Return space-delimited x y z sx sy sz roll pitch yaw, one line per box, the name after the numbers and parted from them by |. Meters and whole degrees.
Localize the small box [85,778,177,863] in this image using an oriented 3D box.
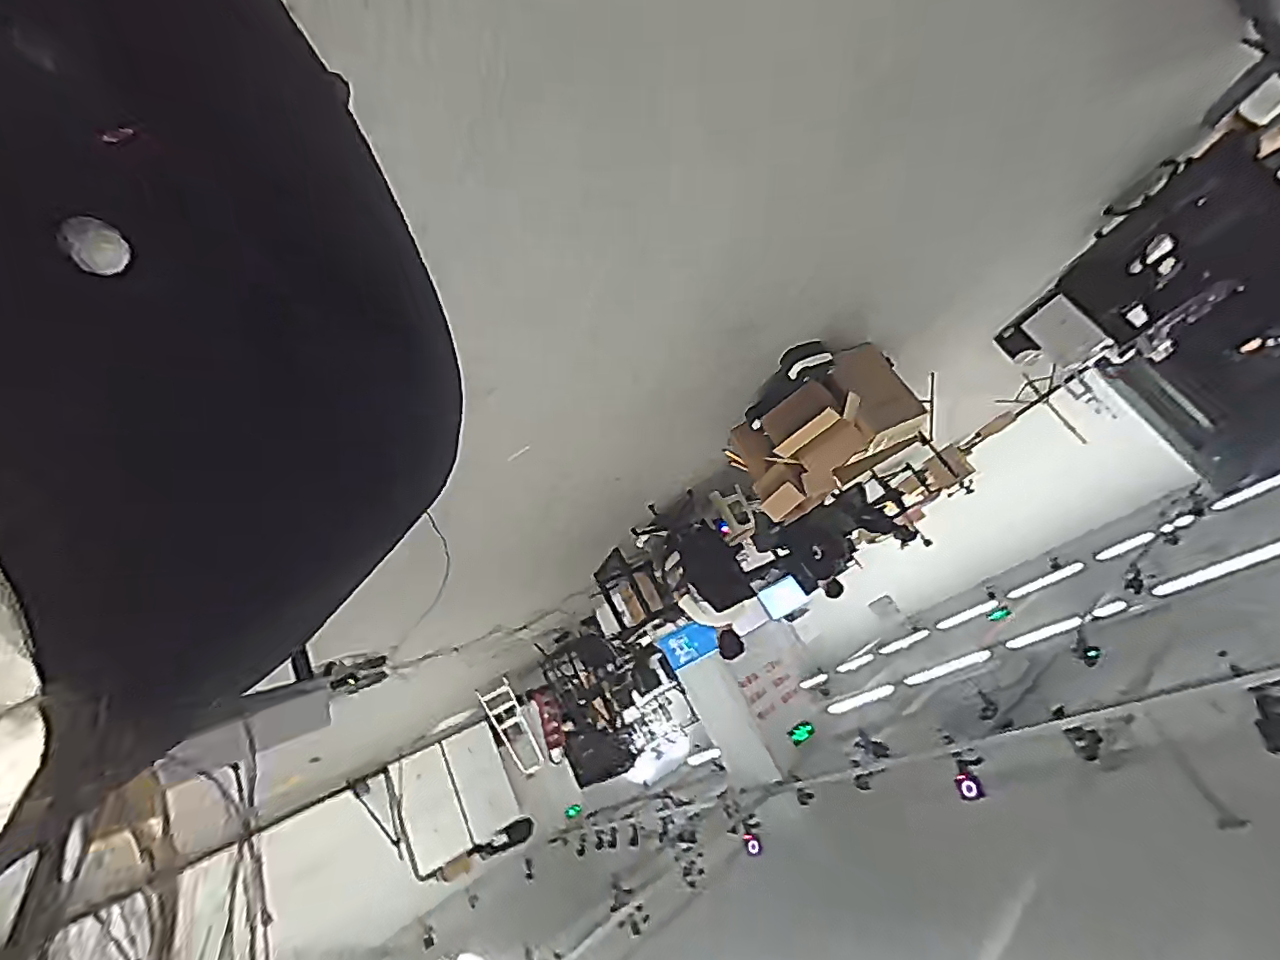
-1.616 1.079 1.720 0.179 0.176 0.168 -13 152 -34 | small box
